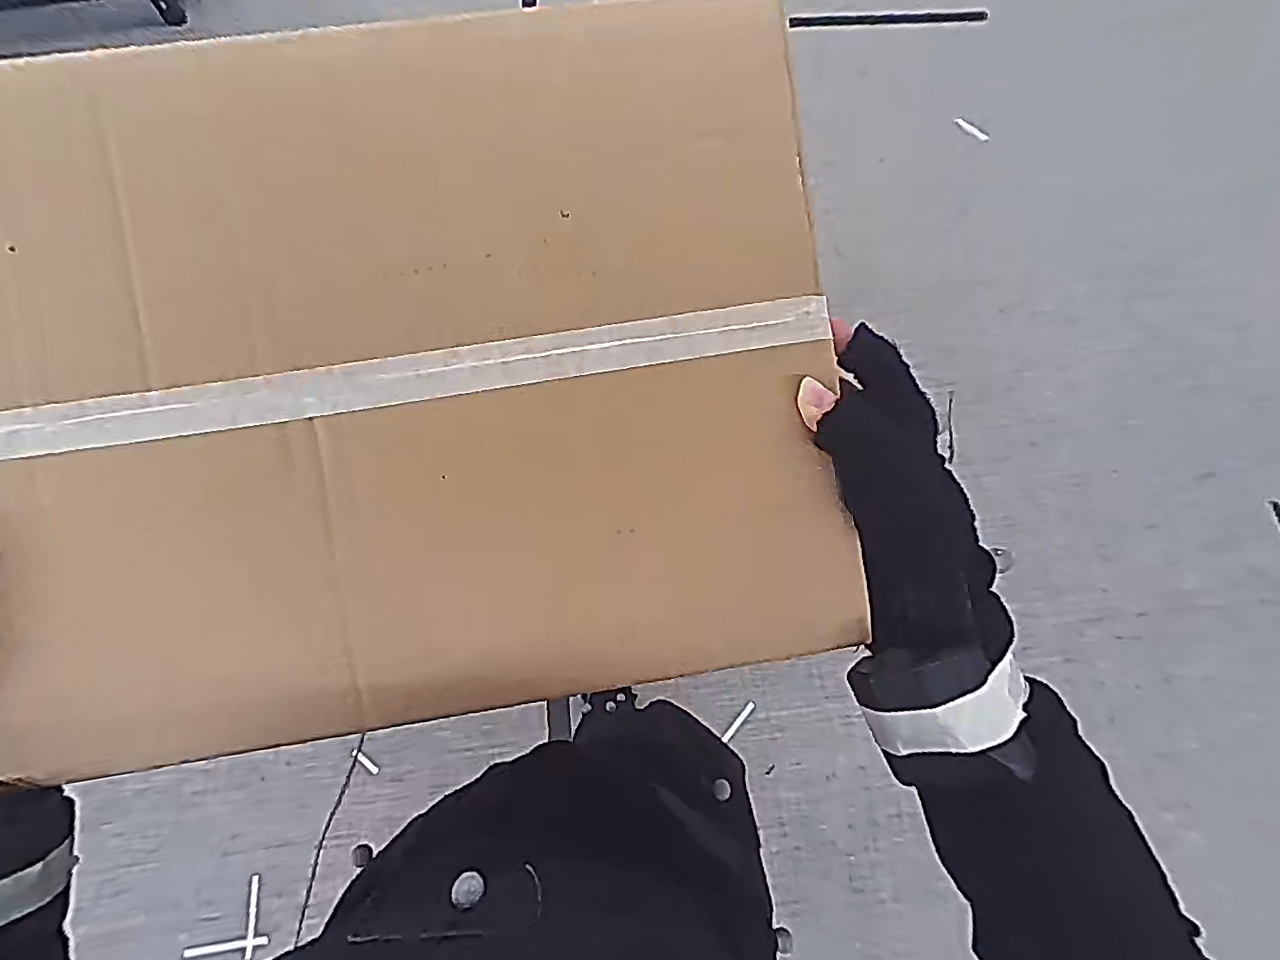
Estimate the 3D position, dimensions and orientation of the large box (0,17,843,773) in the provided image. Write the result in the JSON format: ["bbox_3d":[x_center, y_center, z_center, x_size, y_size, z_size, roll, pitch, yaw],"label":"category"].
[{"bbox_3d":[-0.121,-0.049,0.405,0.408,0.320,0.320,-8,91,-3],"label":"large box"}]
